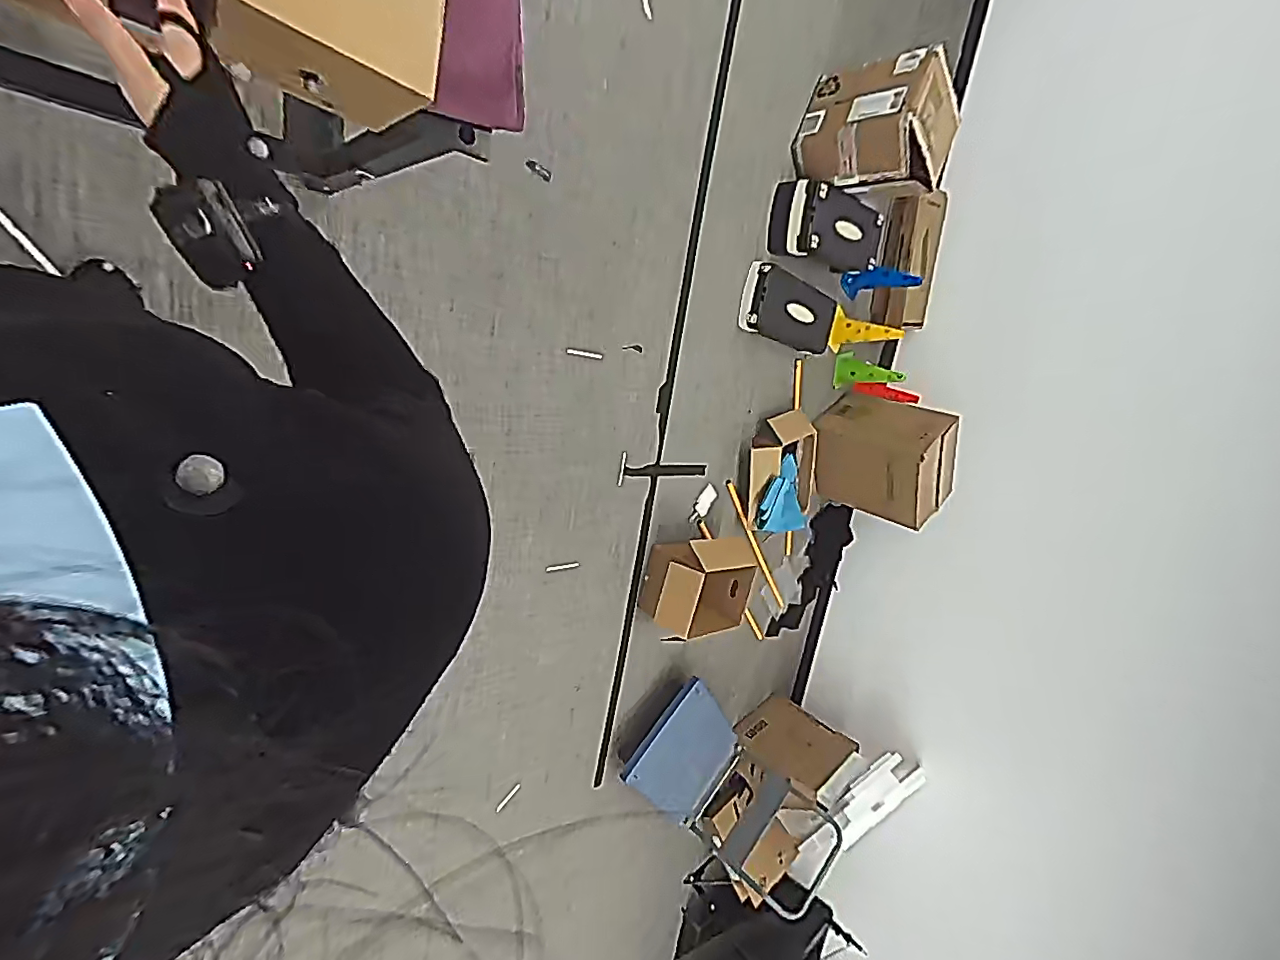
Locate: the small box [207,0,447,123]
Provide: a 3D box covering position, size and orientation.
[{"bbox_3d":[-0.298,-0.481,0.518,0.168,0.176,0.179,2,103,-45],"label":"small box"}]
